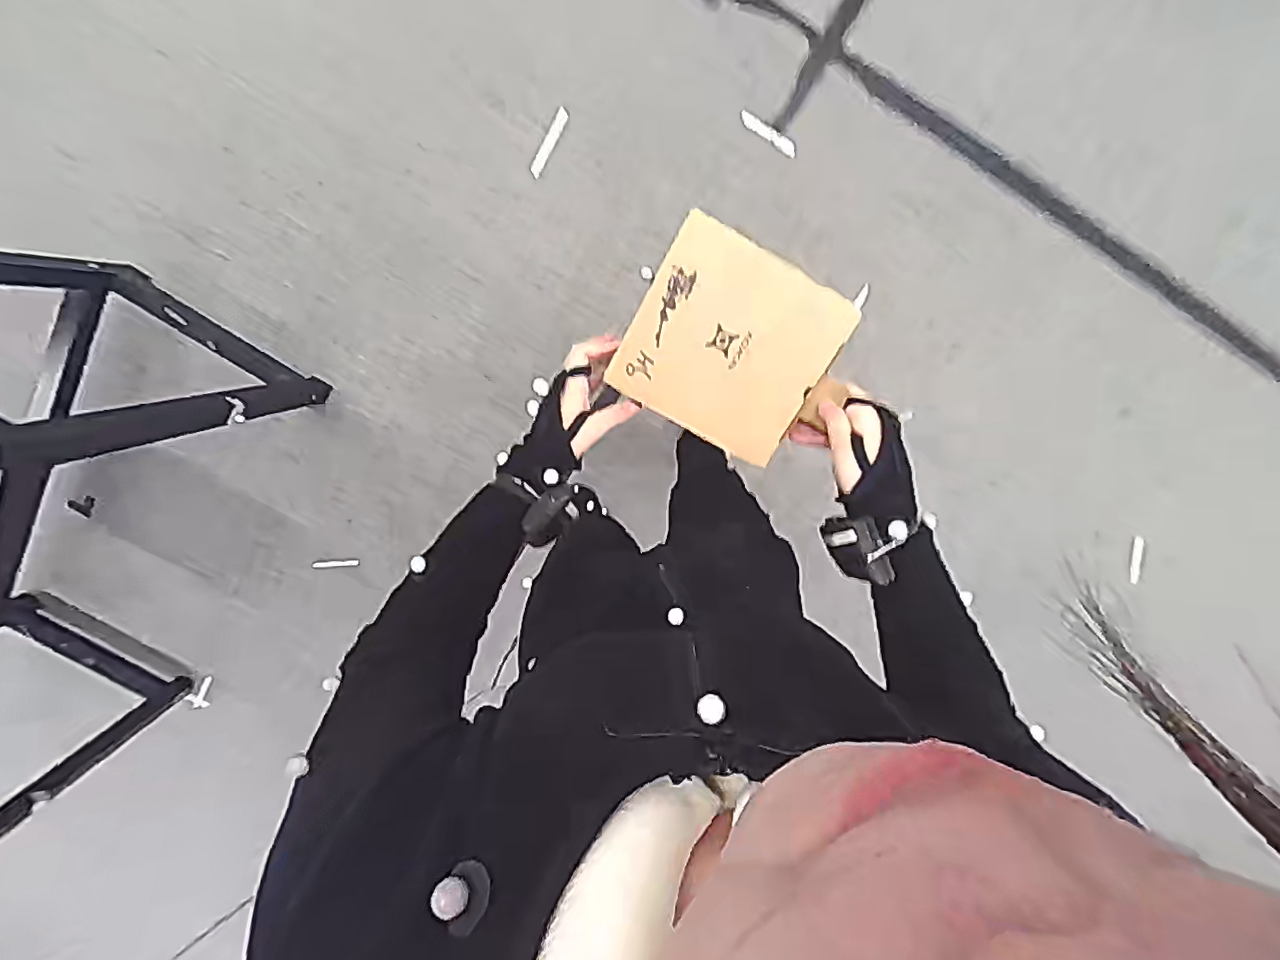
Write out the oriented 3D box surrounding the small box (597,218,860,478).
[{"bbox_3d":[0.076,-0.131,0.547,0.179,0.176,0.168,29,103,-7],"label":"small box"}]
